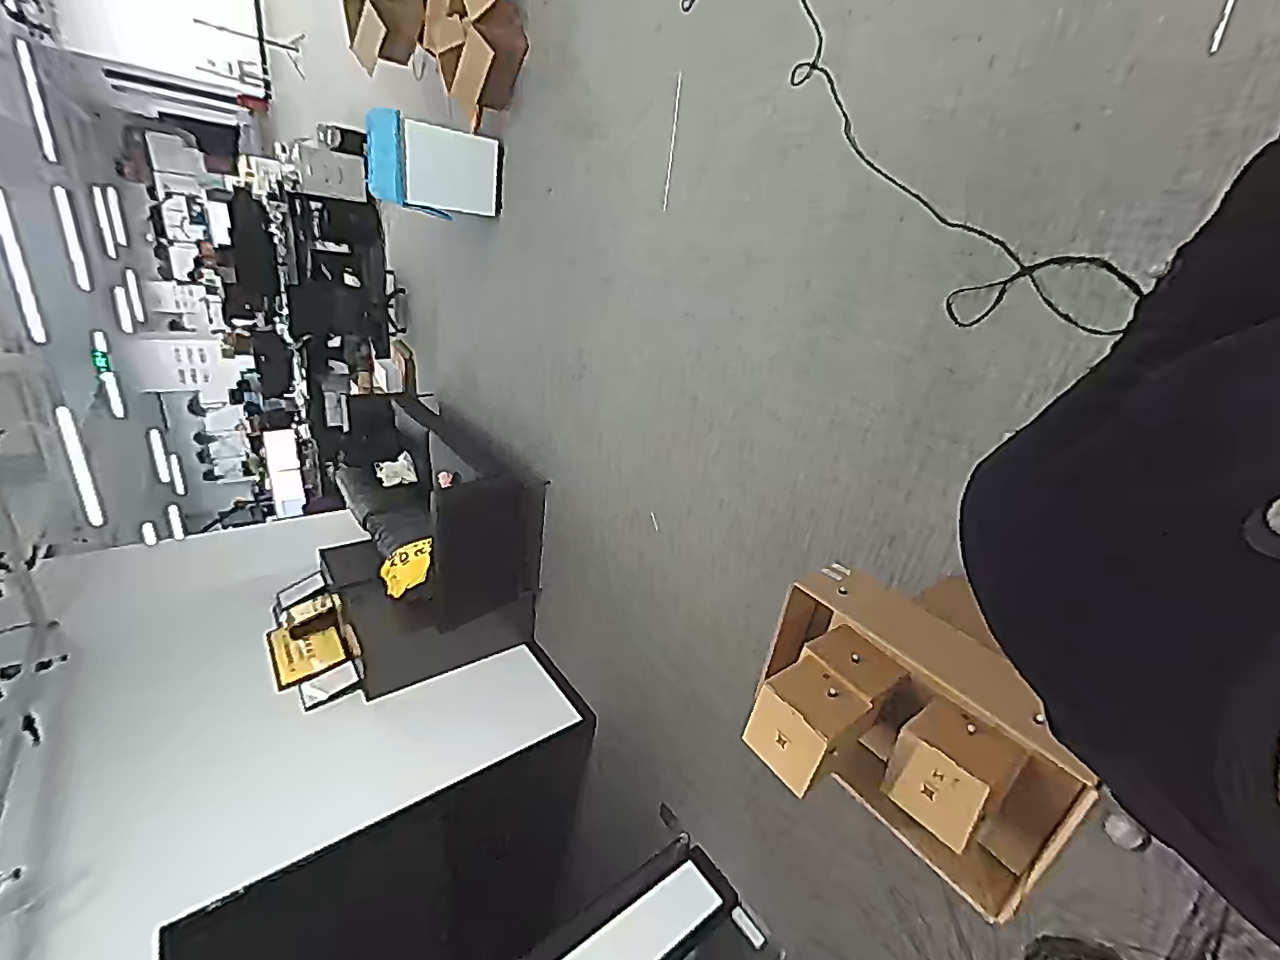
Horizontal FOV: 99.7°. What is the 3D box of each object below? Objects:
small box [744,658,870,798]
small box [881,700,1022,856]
[{"bbox_3d":[0.351,0.513,1.139,0.168,0.176,0.179,37,126,42],"label":"small box"},{"bbox_3d":[0.617,0.579,1.071,0.168,0.176,0.179,30,120,46],"label":"small box"}]
